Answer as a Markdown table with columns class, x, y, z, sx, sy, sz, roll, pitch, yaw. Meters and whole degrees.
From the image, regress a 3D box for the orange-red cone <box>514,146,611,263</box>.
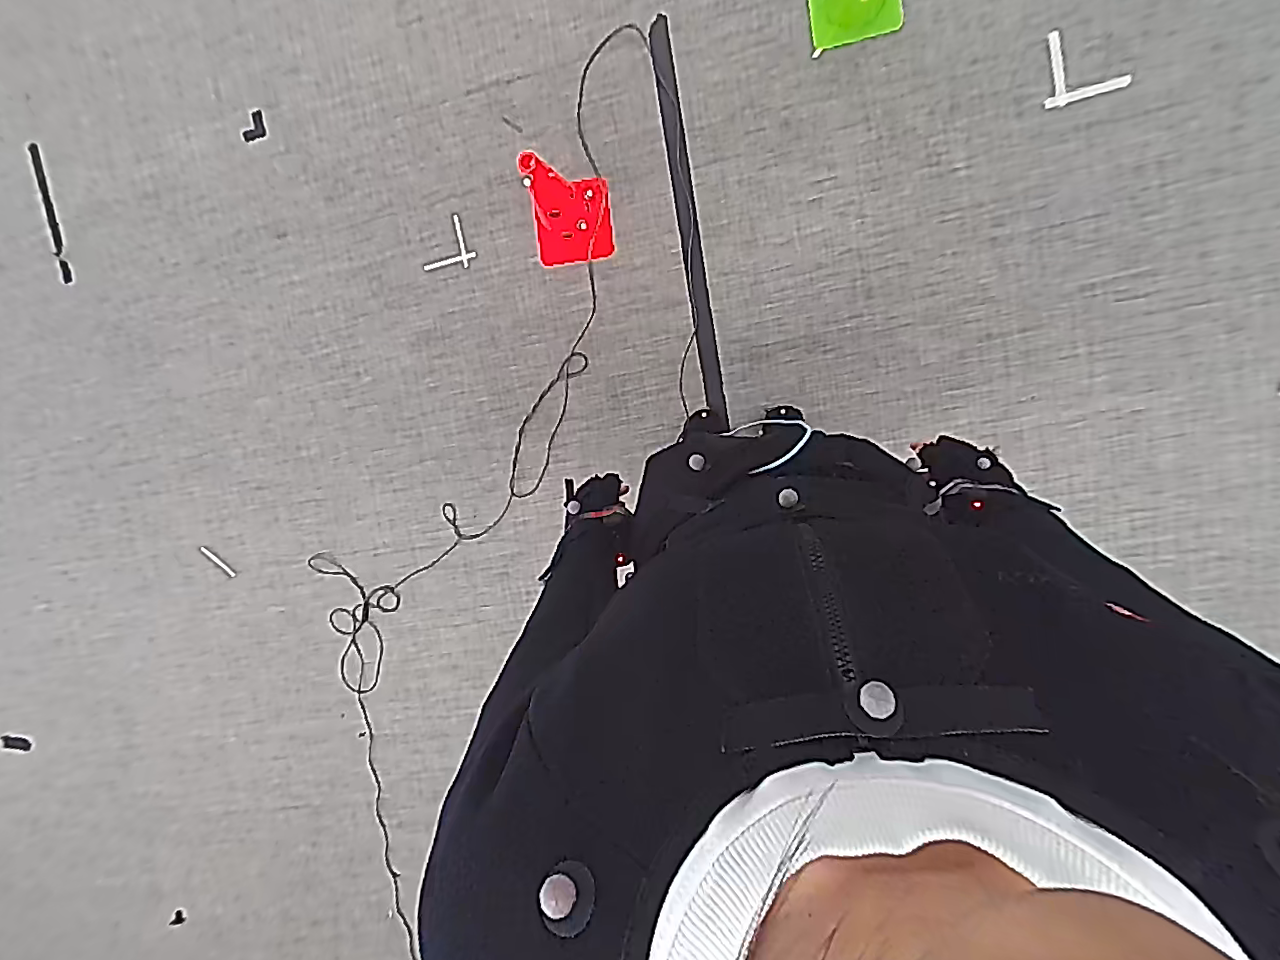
| class | x | y | z | sx | sy | sz | roll | pitch | yaw |
| --- | --- | --- | --- | --- | --- | --- | --- | --- | --- |
| orange-red cone | -0.202 | -0.646 | 1.219 | 0.199 | 0.360 | 0.198 | -4 | 96 | 10 |

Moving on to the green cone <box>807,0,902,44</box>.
| class | x | y | z | sx | sy | sz | roll | pitch | yaw |
| --- | --- | --- | --- | --- | --- | --- | --- | --- | --- |
| green cone | 0.461 | -1.091 | 1.060 | 0.202 | 0.368 | 0.200 | -9 | 96 | 8 |
